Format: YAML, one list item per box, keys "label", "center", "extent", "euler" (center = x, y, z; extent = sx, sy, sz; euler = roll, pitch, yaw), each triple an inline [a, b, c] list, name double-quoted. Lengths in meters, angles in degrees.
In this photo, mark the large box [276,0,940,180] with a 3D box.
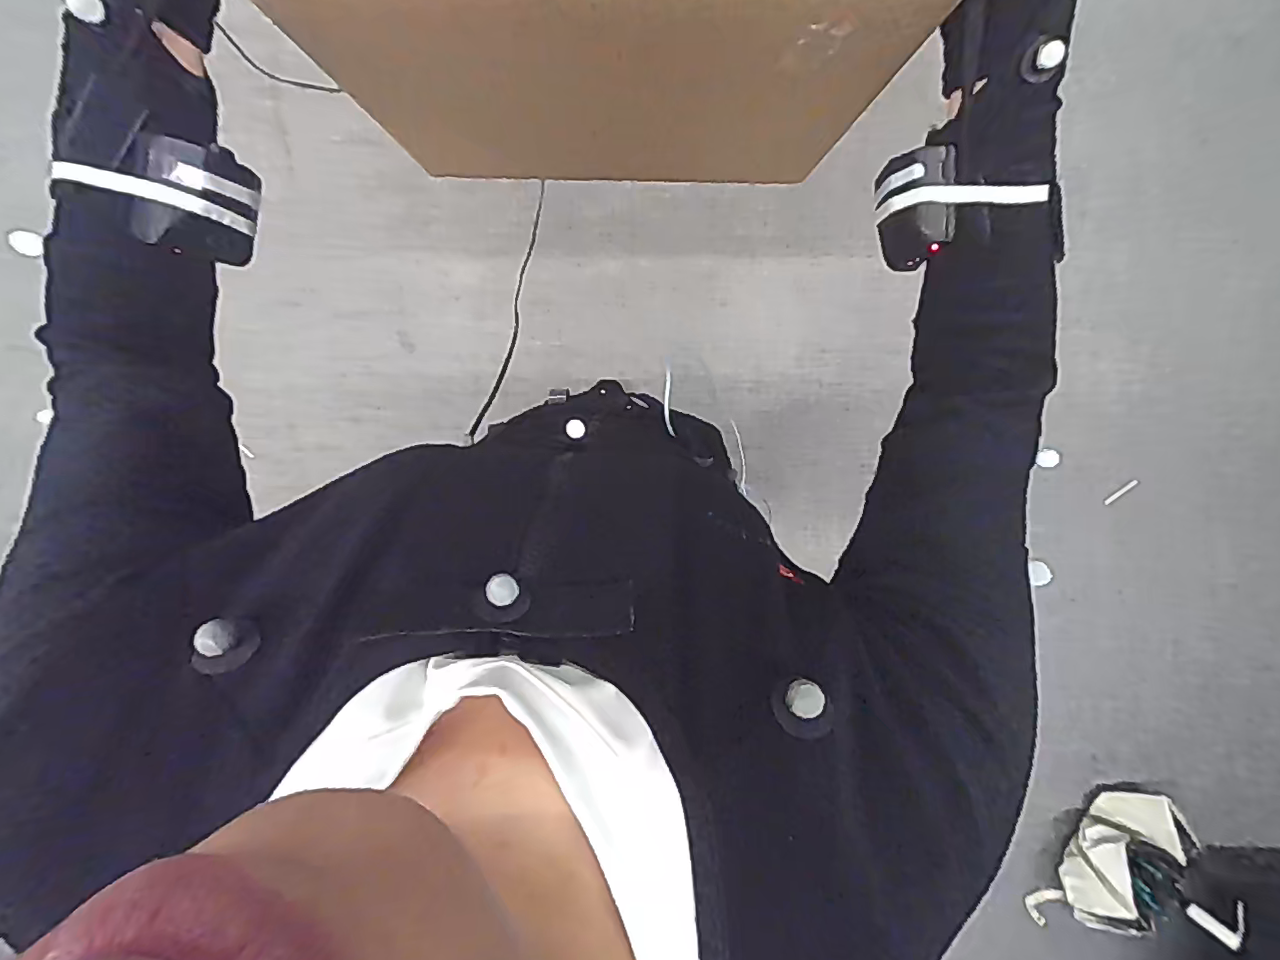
- label: "large box"
  center: [-0.023, -0.449, 0.412]
  extent: [0.408, 0.320, 0.320]
  euler: [0, 102, -2]
